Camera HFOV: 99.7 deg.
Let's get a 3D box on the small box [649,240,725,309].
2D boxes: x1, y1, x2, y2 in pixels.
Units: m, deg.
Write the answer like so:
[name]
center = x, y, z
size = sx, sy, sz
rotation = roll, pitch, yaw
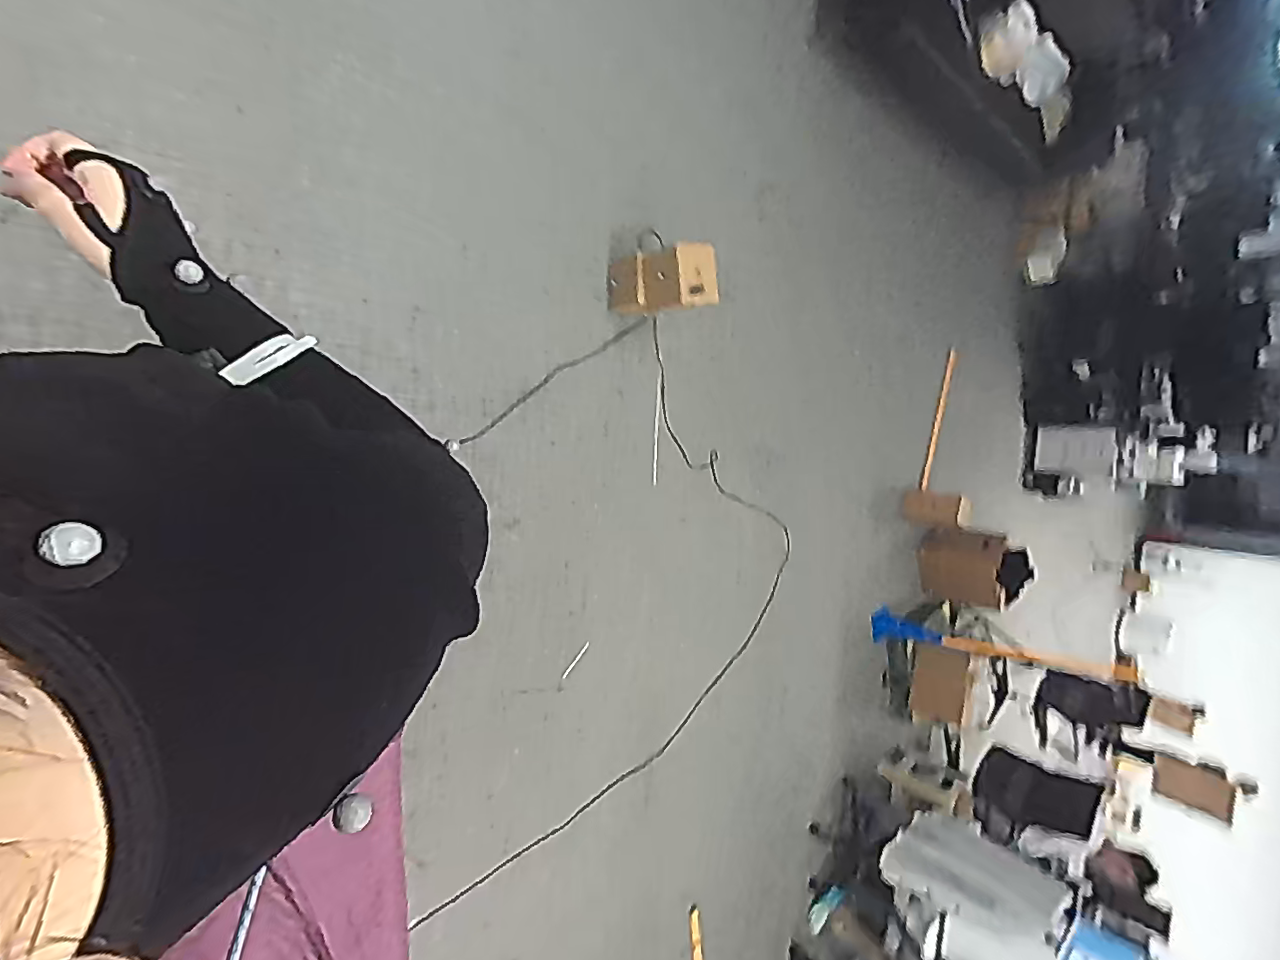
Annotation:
[small box]
center = 0.147, -0.644, 1.714
size = 0.168, 0.176, 0.179
rotation = -16, 103, -37
